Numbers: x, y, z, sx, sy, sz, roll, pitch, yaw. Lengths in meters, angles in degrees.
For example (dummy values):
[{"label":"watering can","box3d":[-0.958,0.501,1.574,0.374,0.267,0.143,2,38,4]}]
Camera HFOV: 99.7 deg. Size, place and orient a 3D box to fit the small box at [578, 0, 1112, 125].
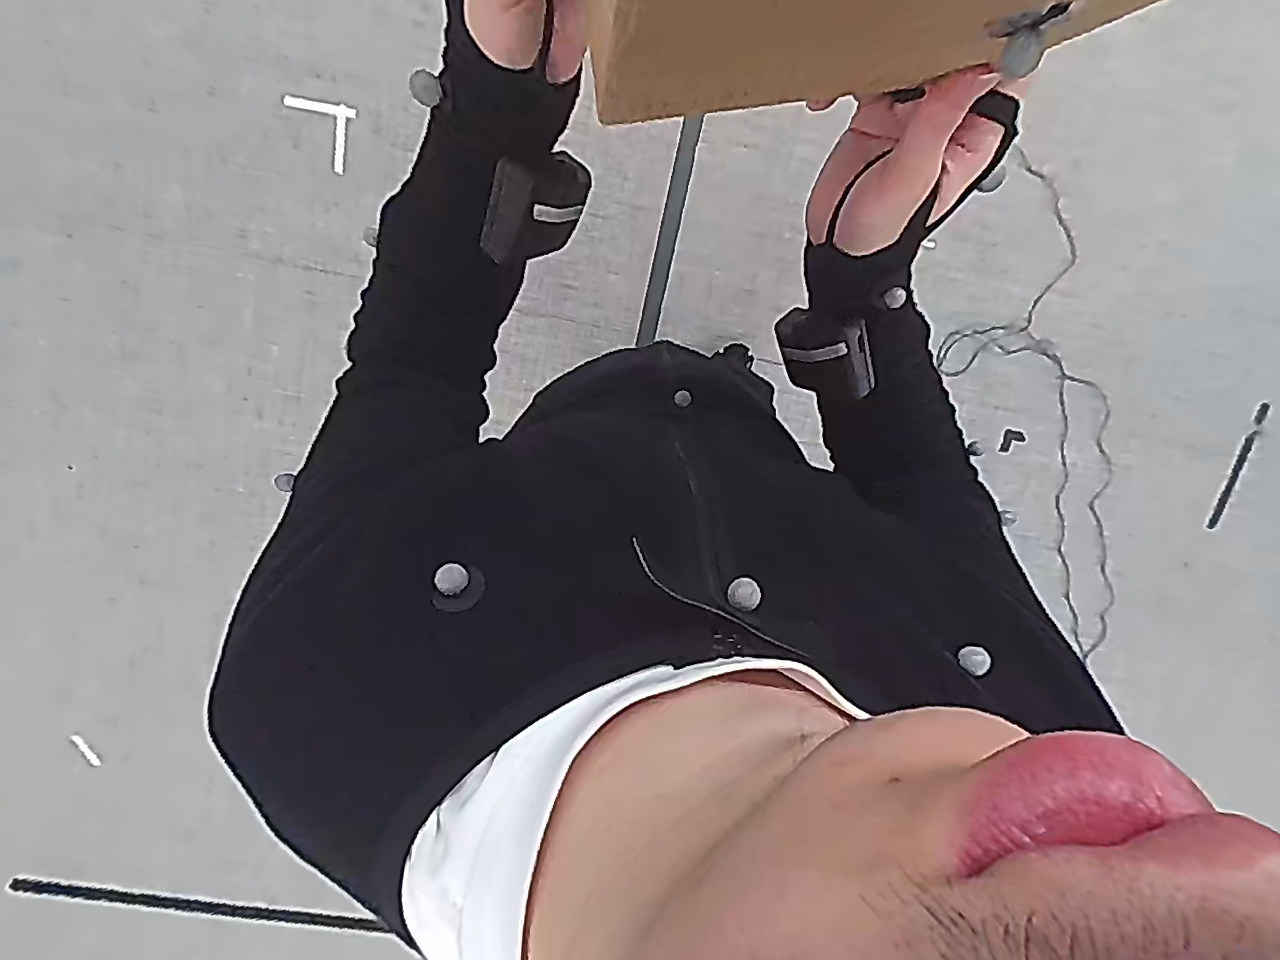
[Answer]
[{"label":"small box","box3d":[0.063,-0.221,0.152,0.179,0.176,0.168,-9,112,-2]}]
